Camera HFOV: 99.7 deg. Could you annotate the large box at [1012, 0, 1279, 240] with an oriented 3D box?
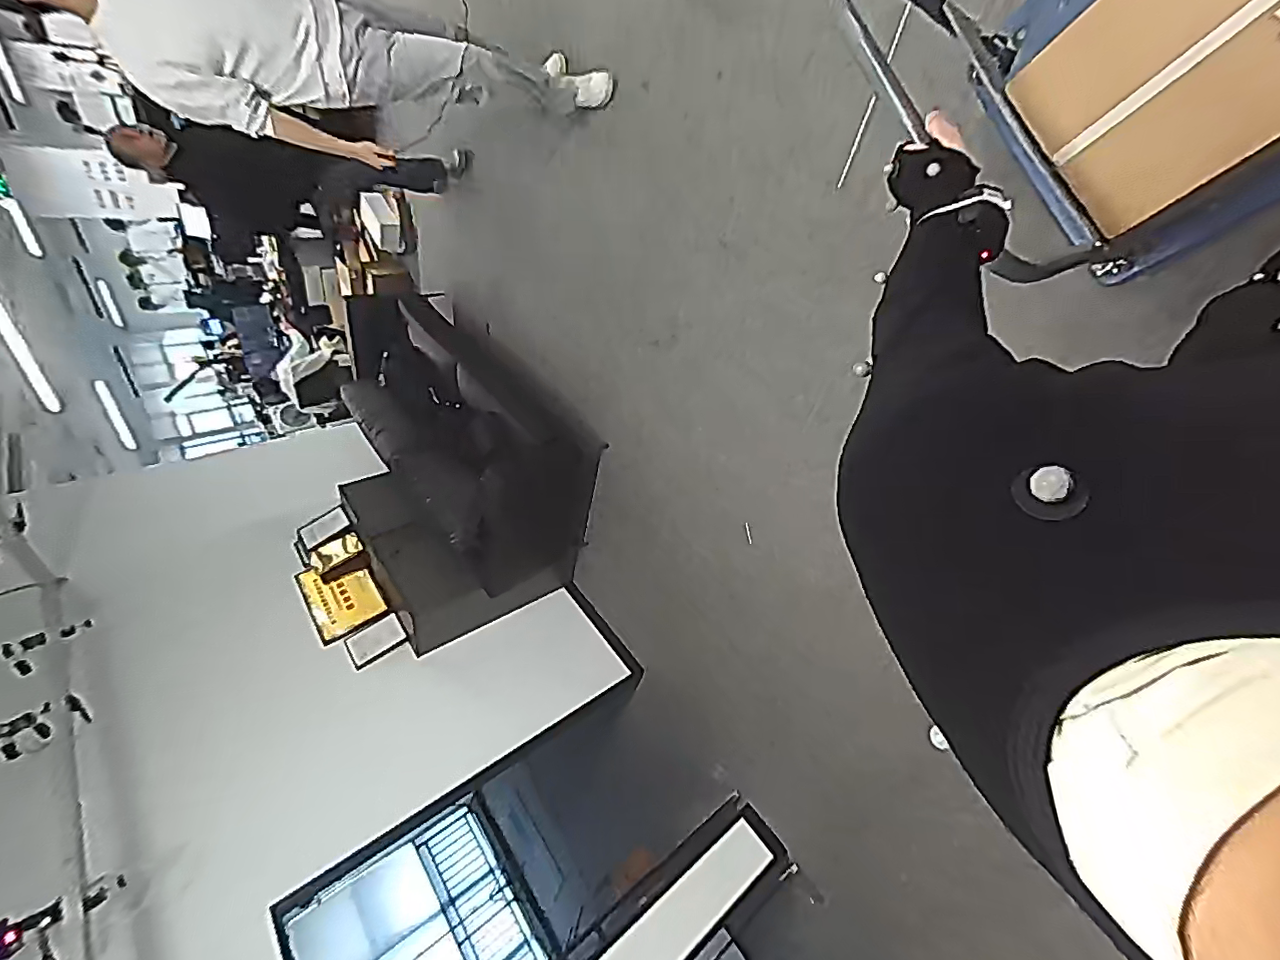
[{"bbox_3d":[0.882,-0.622,0.803,0.408,0.320,0.320,-37,77,52],"label":"large box"}]
